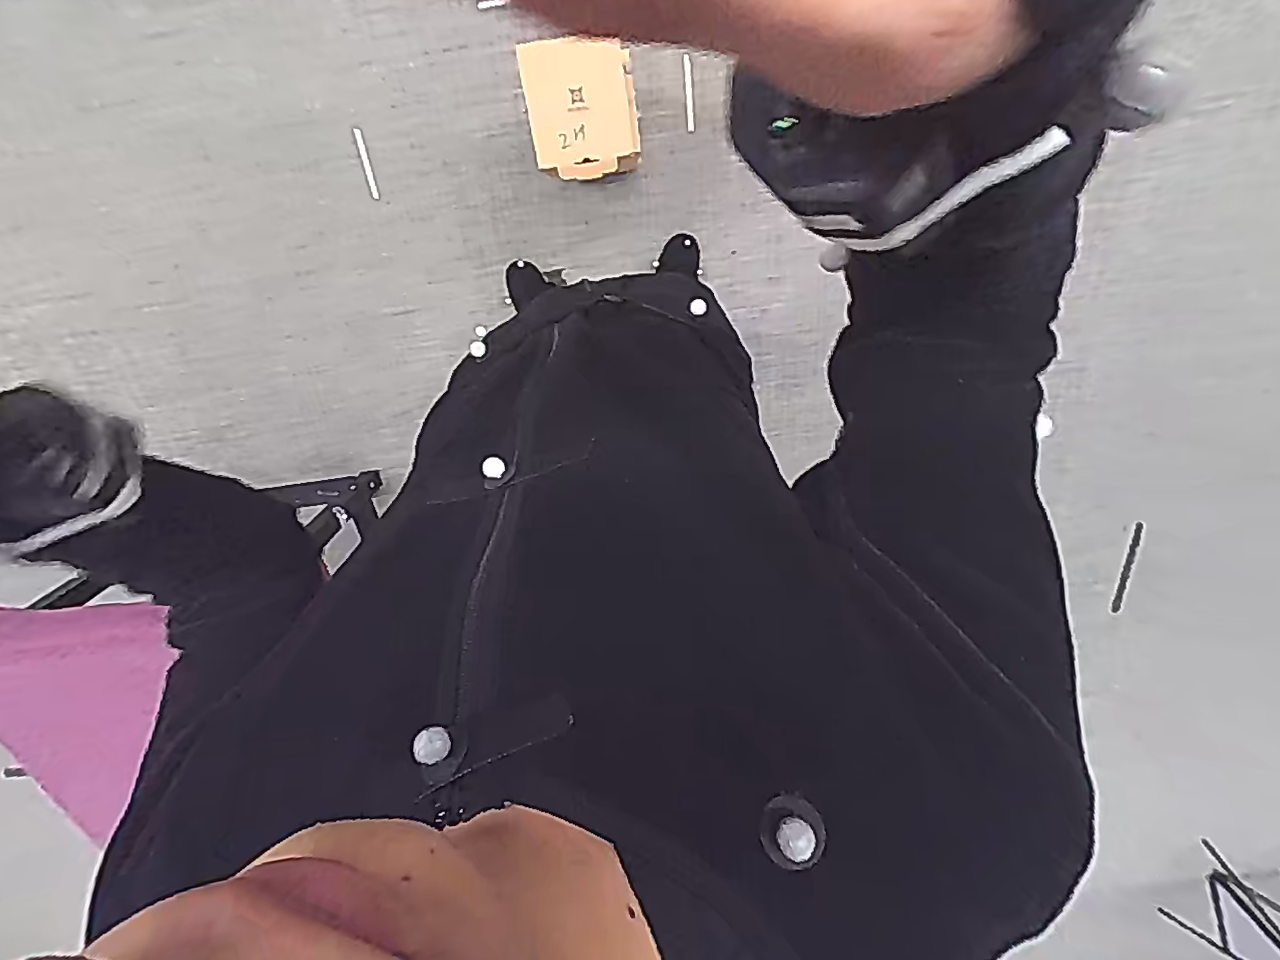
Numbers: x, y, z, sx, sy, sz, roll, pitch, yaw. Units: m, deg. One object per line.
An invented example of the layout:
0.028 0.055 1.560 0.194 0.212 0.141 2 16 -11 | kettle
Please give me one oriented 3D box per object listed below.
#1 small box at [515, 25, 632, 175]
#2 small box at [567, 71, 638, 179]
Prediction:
-0.109 -0.647 0.941 0.168 0.176 0.179 -8 116 1 | small box
-0.099 -0.801 1.235 0.168 0.176 0.179 -11 115 4 | small box
